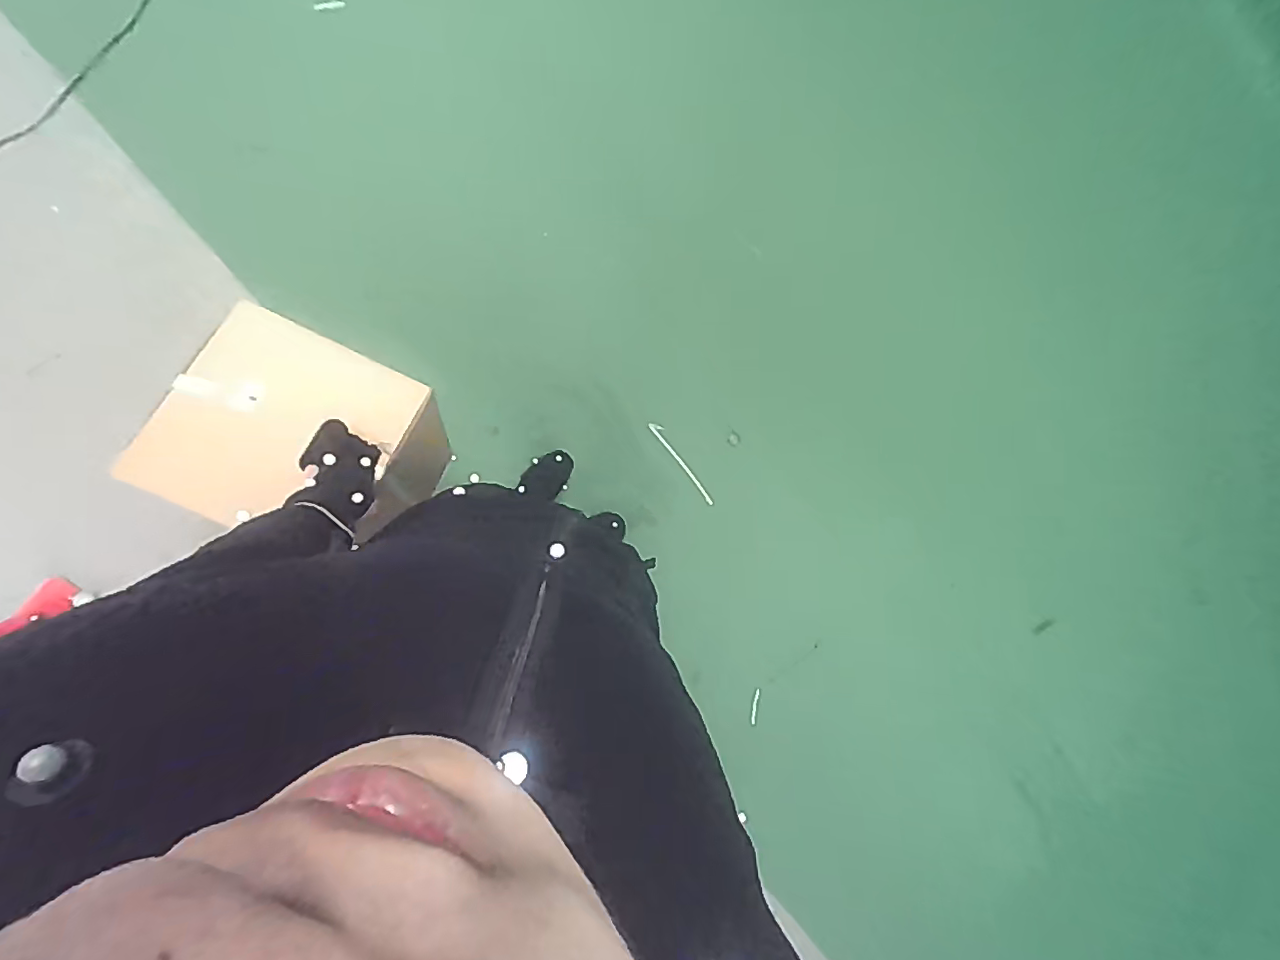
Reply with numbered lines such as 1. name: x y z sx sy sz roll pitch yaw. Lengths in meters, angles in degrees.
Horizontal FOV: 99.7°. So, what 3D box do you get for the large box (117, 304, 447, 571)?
1. large box: -0.578 -0.041 0.979 0.320 0.408 0.320 25 73 -9
